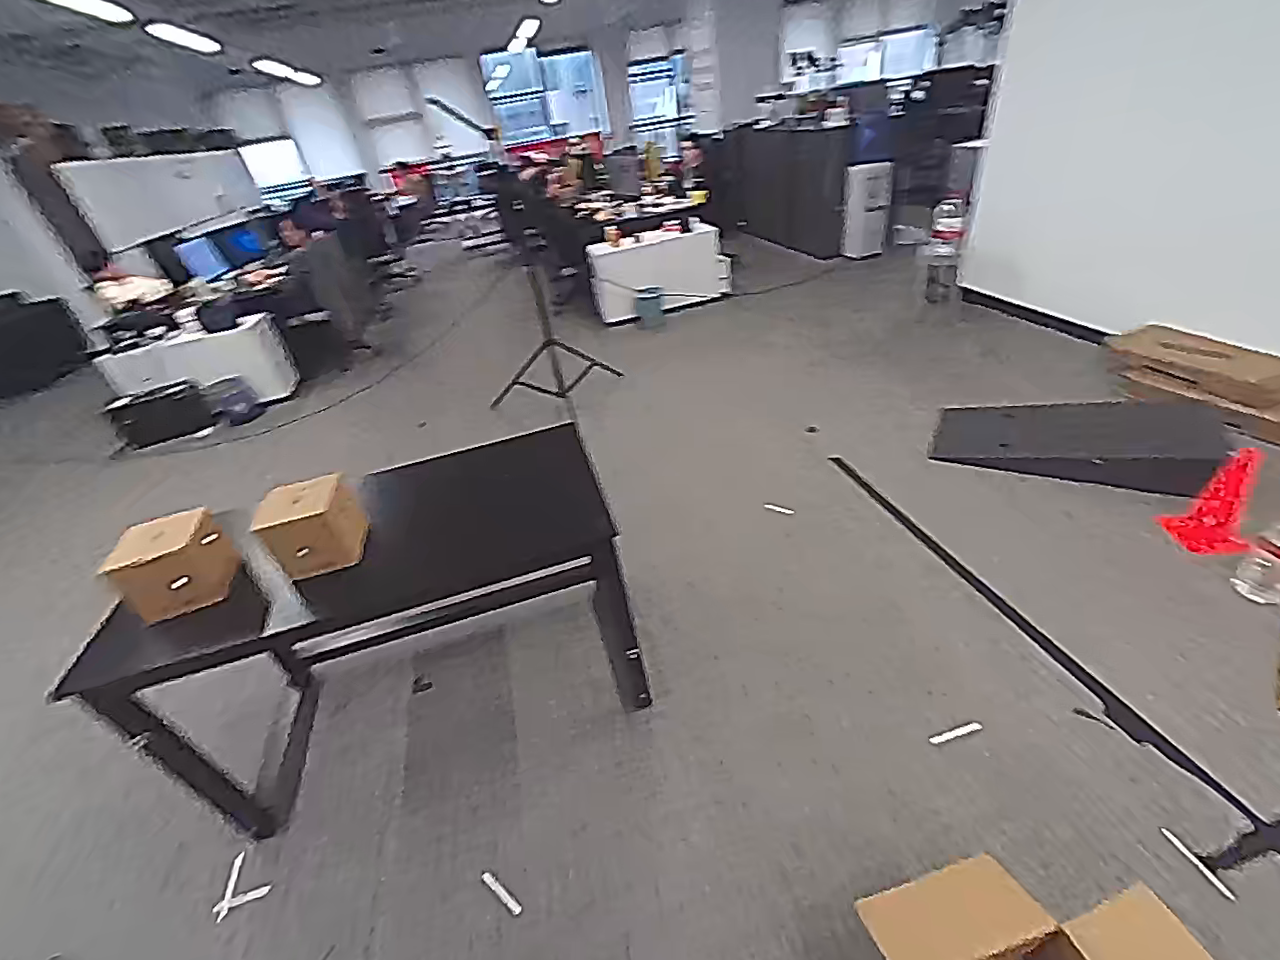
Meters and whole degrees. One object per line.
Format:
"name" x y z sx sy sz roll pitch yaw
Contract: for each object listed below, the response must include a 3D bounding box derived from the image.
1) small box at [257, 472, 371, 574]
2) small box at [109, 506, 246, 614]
"small box" -0.785 0.110 1.325 0.168 0.176 0.179 -14 35 -8
"small box" -1.078 0.194 1.281 0.168 0.176 0.179 -17 34 -13
